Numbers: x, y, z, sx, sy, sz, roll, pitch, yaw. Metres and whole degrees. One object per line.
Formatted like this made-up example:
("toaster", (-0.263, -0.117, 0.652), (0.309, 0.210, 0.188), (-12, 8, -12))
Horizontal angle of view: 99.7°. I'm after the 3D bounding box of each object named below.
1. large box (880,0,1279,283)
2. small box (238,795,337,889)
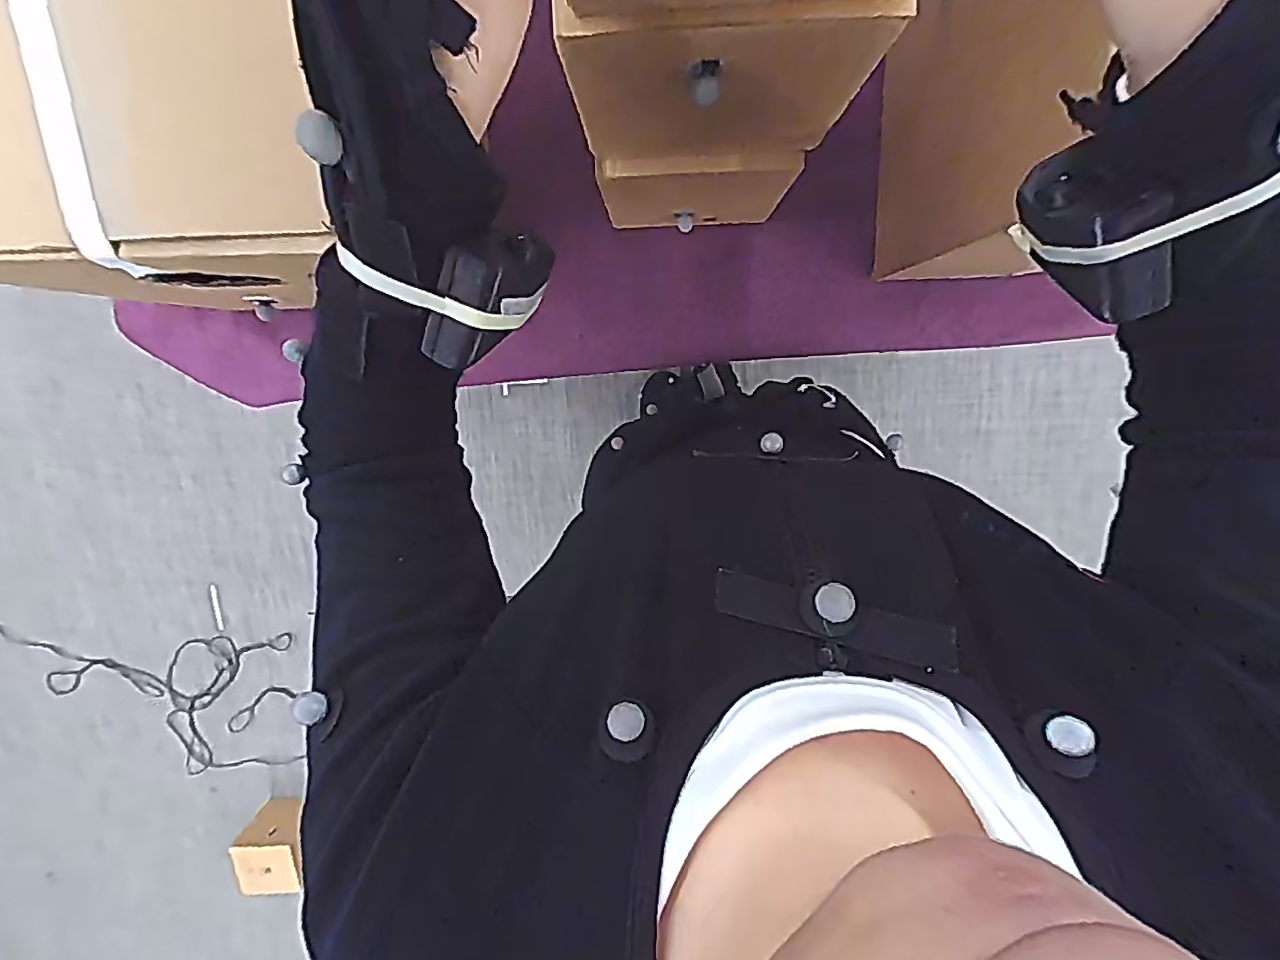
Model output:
("large box", (0.387, -0.384, 0.391), (0.320, 0.320, 0.408), (-2, 101, 3))
("small box", (-1.025, 1.061, 1.594), (0.179, 0.176, 0.168), (-3, 103, 3))
